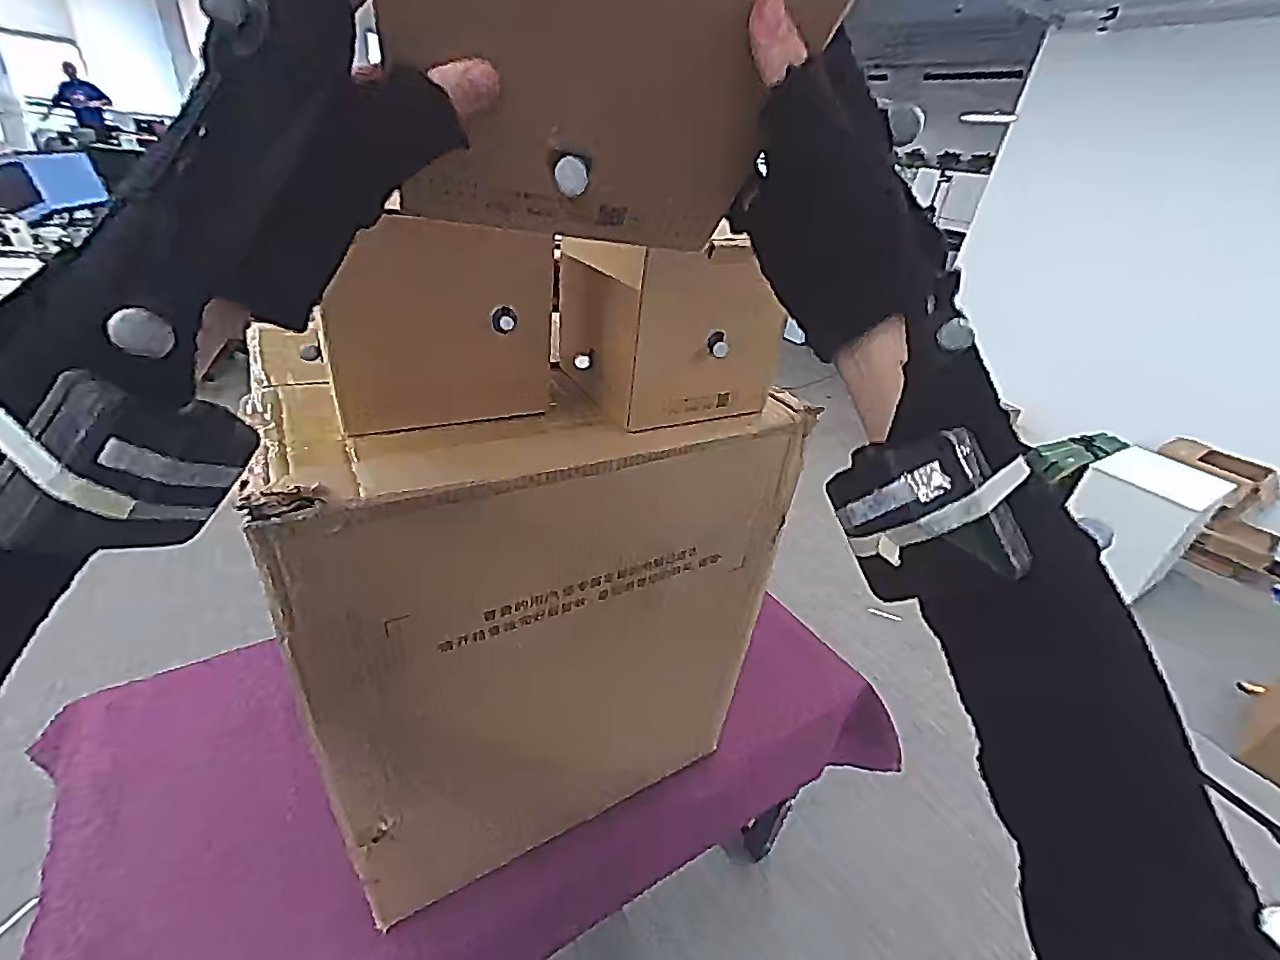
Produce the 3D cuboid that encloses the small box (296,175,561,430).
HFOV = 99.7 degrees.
[{"bbox_3d":[-0.184,-0.159,0.478,0.179,0.176,0.168,-12,36,-29],"label":"small box"}]

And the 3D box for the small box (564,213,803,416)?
[{"bbox_3d":[0.030,-0.172,0.549,0.168,0.176,0.179,-12,36,-27],"label":"small box"}]

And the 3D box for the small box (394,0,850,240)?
[{"bbox_3d":[-0.020,-0.246,0.244,0.168,0.176,0.179,-1,72,-18],"label":"small box"}]
